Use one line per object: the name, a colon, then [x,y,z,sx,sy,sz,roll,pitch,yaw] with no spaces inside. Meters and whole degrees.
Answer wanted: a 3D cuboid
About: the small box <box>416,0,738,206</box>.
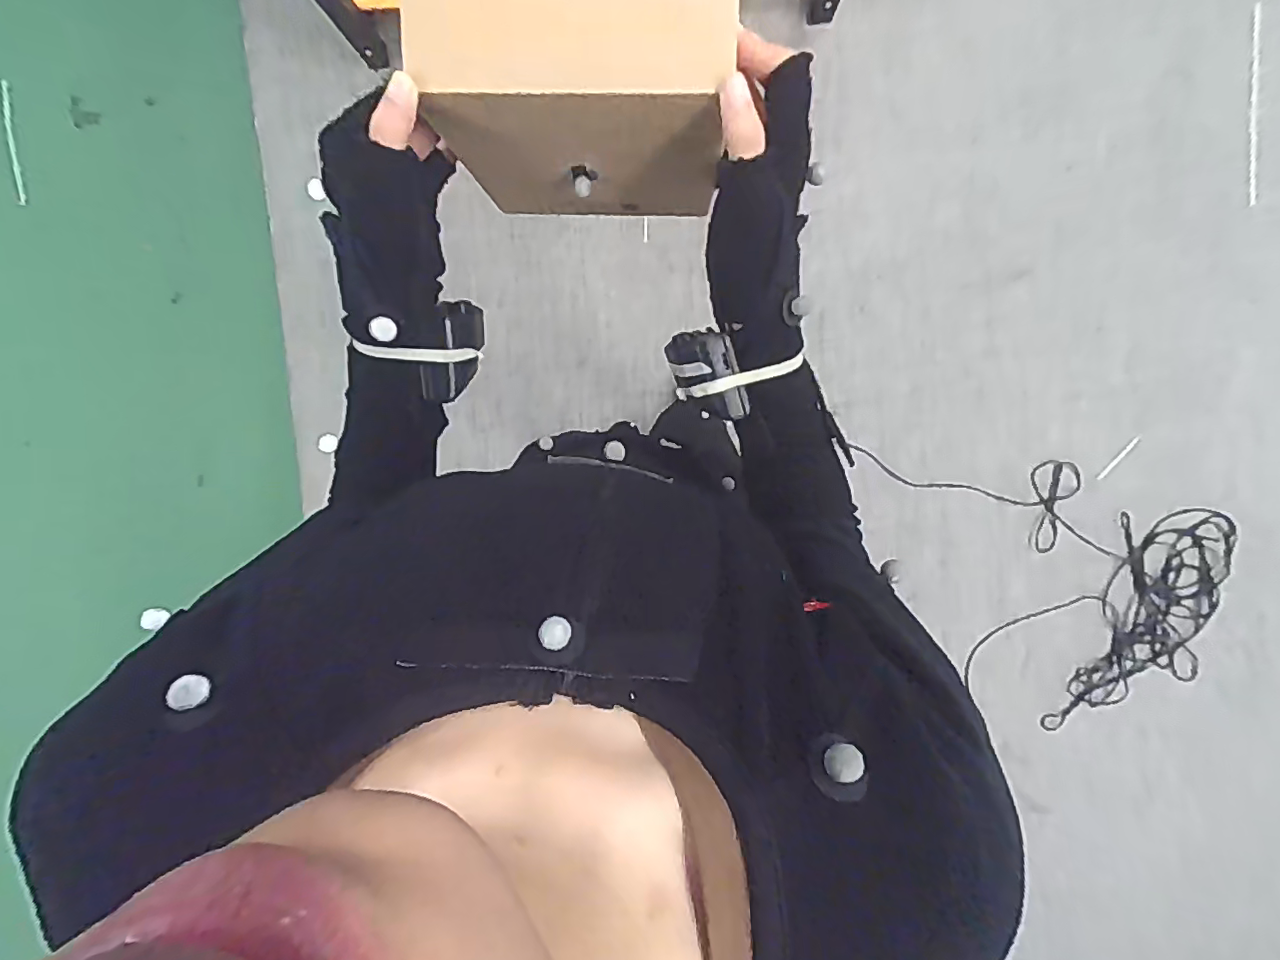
small box: [-0.027,-0.292,0.344,0.168,0.176,0.179,1,97,1]
